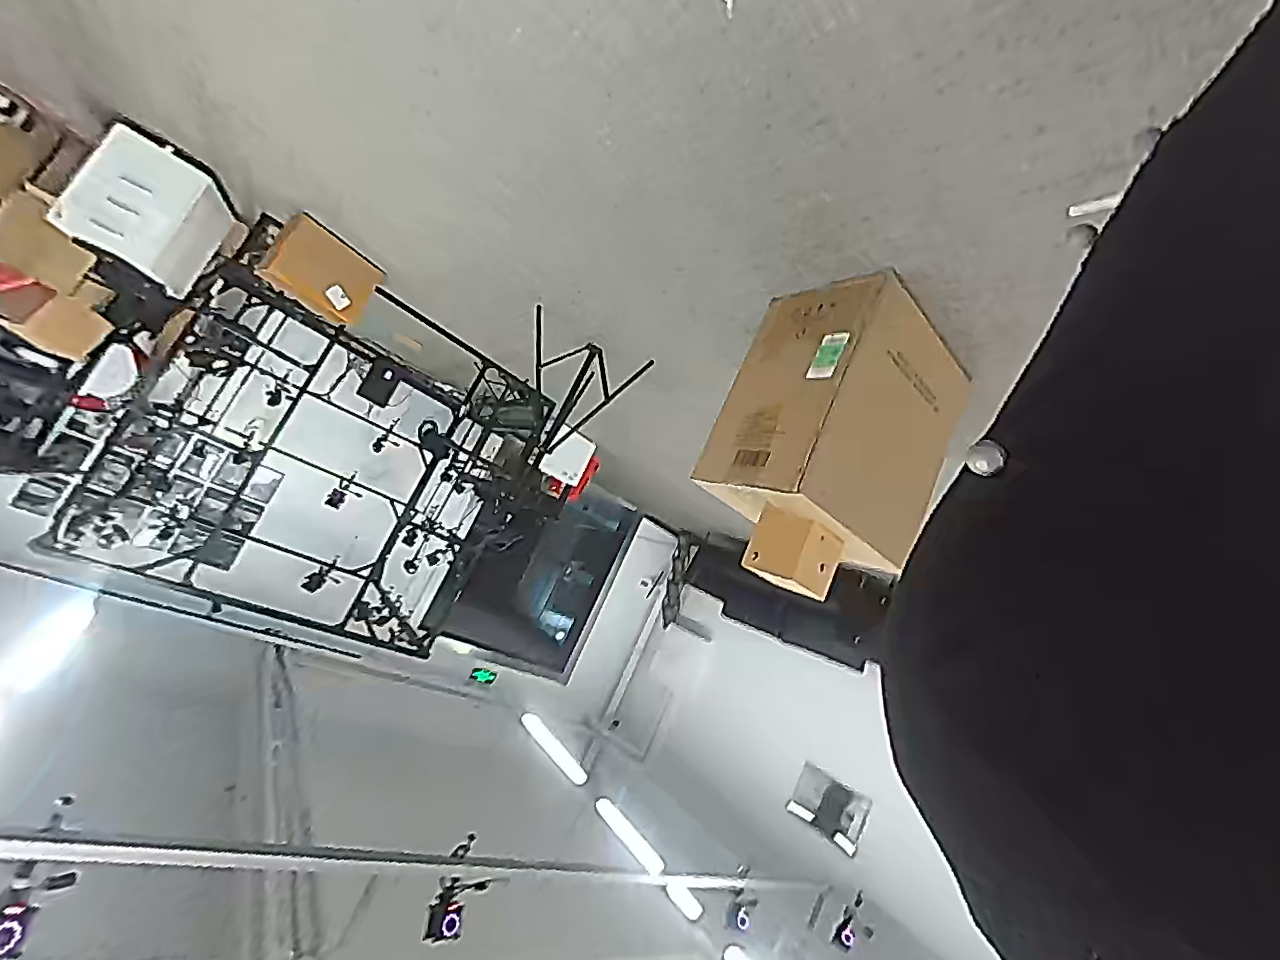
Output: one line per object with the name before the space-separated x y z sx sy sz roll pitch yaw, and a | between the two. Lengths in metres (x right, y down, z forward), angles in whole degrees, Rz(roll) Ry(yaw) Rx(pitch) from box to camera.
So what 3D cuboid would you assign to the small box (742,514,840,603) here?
small box | 0.412 0.204 1.447 0.168 0.176 0.179 32 168 -34
